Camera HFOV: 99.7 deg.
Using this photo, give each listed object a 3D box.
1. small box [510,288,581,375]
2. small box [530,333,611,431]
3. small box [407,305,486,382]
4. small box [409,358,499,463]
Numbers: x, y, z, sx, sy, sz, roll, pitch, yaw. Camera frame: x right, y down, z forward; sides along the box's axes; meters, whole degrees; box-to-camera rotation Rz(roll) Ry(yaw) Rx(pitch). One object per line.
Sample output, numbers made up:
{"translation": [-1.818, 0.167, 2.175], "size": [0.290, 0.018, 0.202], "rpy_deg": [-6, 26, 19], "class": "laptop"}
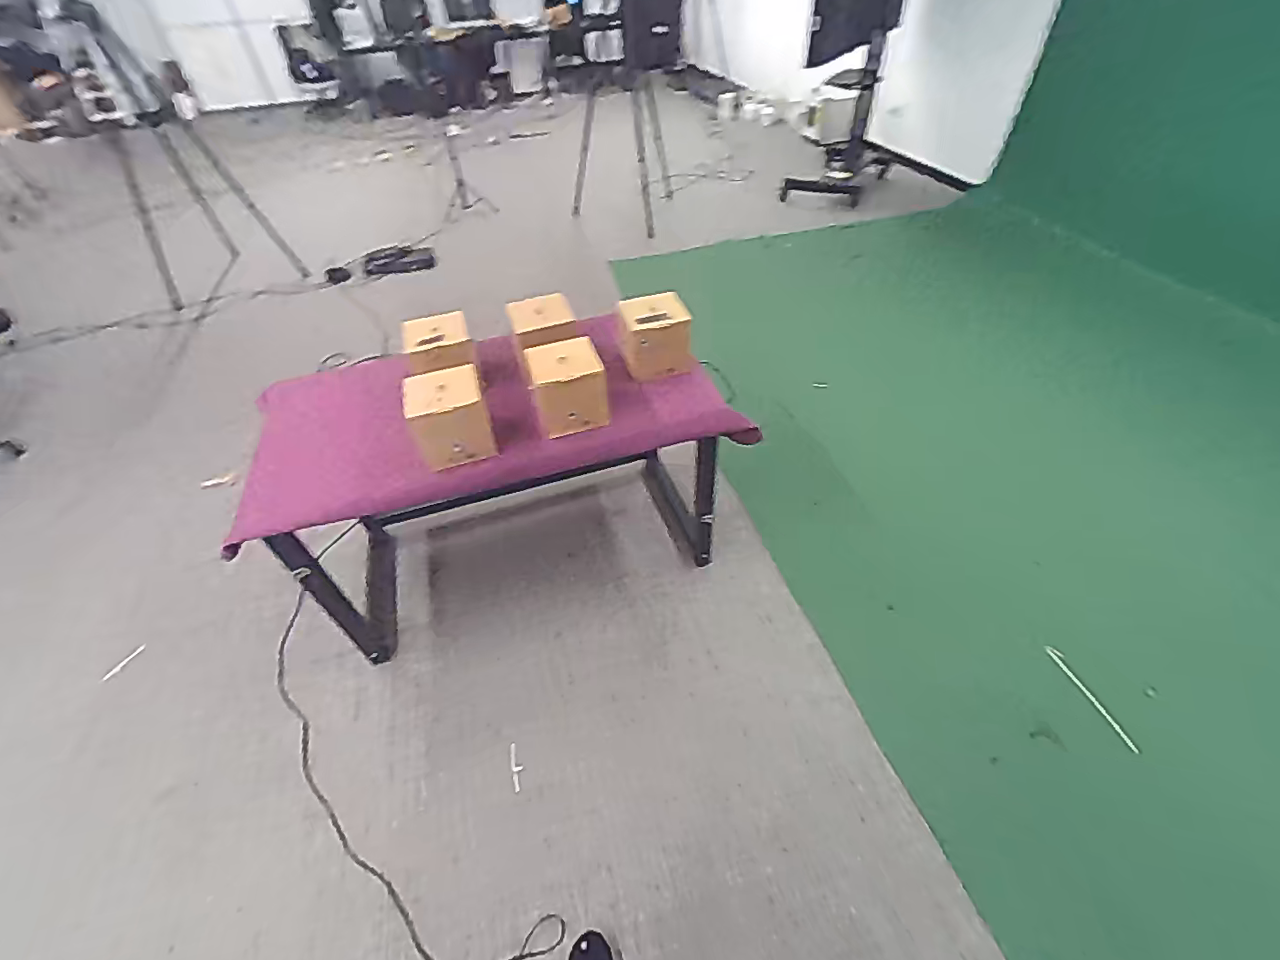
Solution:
{"translation": [-0.267, -0.428, 1.568], "size": [0.168, 0.176, 0.179], "rpy_deg": [-16, 49, -11], "class": "small box"}
{"translation": [-0.178, -0.252, 1.393], "size": [0.168, 0.176, 0.179], "rpy_deg": [-15, 47, -11], "class": "small box"}
{"translation": [-0.540, -0.362, 1.517], "size": [0.168, 0.176, 0.179], "rpy_deg": [-14, 47, -11], "class": "small box"}
{"translation": [-0.454, -0.169, 1.325], "size": [0.168, 0.176, 0.179], "rpy_deg": [-15, 46, -11], "class": "small box"}
